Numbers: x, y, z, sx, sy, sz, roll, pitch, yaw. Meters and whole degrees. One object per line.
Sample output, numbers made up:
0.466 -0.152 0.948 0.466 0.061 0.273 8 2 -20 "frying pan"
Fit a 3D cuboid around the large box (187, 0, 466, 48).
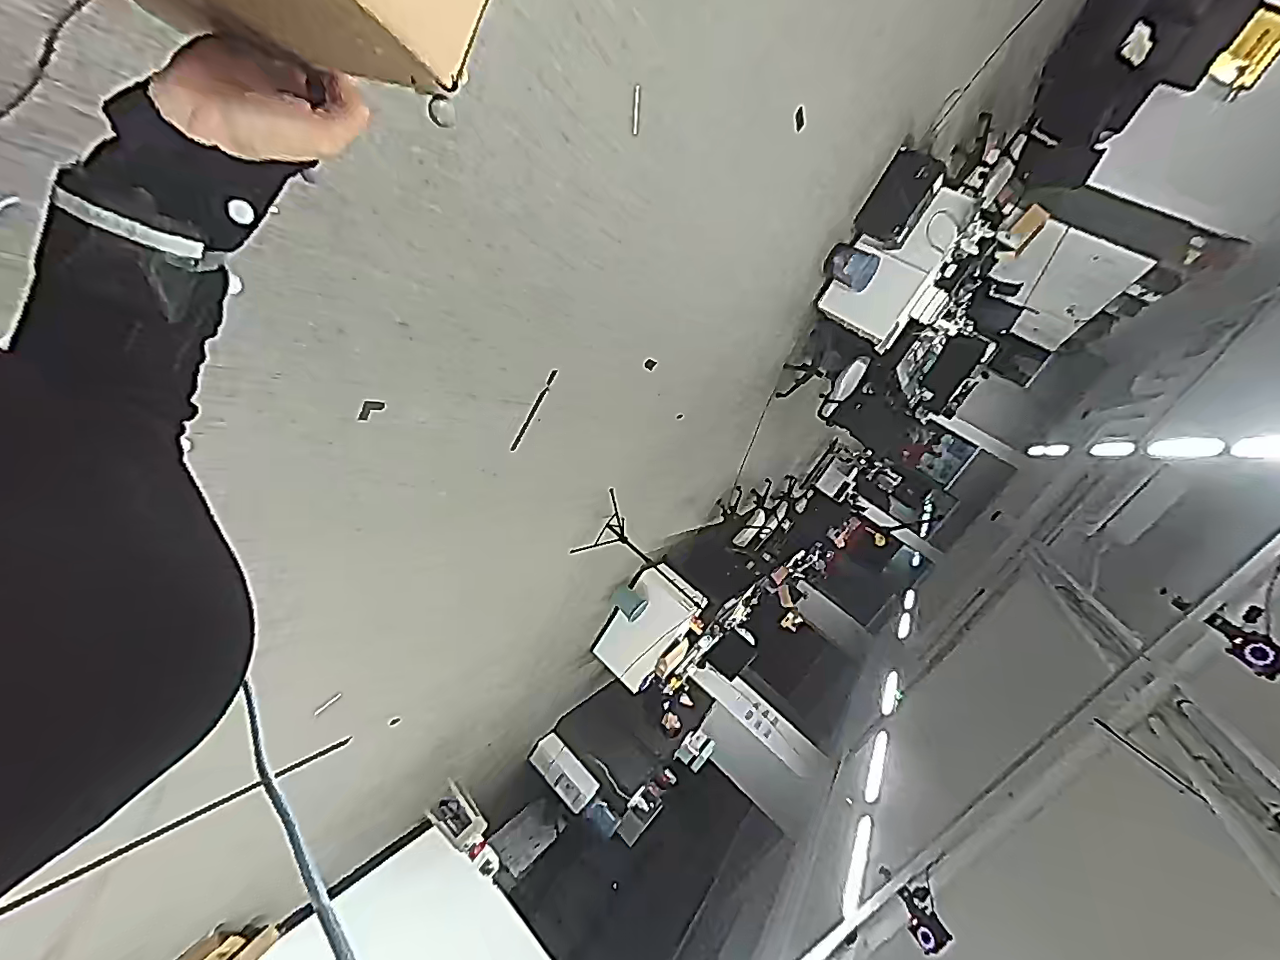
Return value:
-0.221 -0.392 0.090 0.408 0.320 0.320 6 114 -61 "large box"
